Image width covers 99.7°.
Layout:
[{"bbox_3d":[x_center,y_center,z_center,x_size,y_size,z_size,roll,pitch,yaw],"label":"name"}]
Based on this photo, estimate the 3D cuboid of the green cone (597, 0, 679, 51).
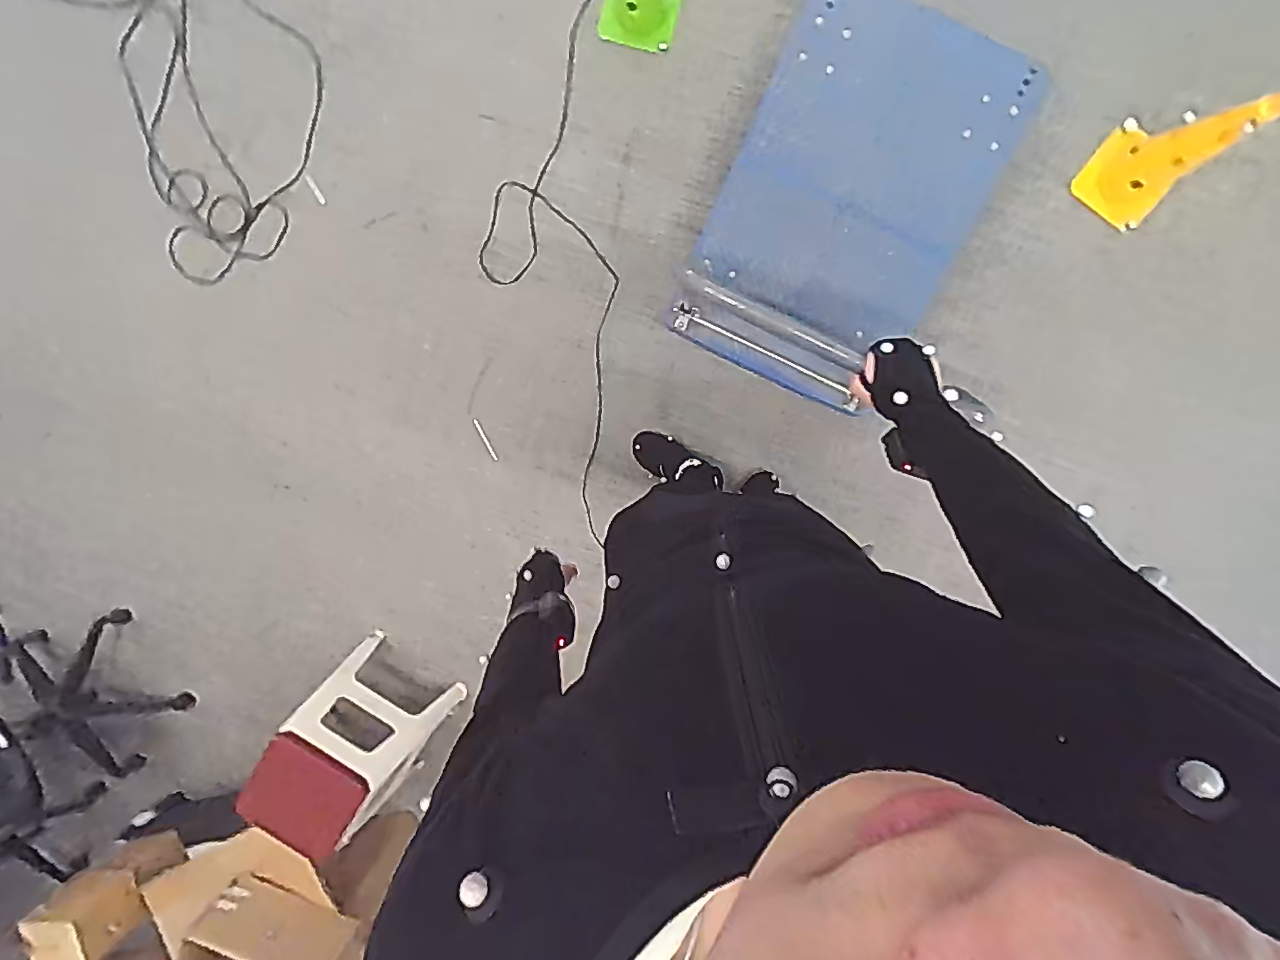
[{"bbox_3d":[-0.023,-1.222,1.248,0.202,0.368,0.200,16,101,5],"label":"green cone"}]
